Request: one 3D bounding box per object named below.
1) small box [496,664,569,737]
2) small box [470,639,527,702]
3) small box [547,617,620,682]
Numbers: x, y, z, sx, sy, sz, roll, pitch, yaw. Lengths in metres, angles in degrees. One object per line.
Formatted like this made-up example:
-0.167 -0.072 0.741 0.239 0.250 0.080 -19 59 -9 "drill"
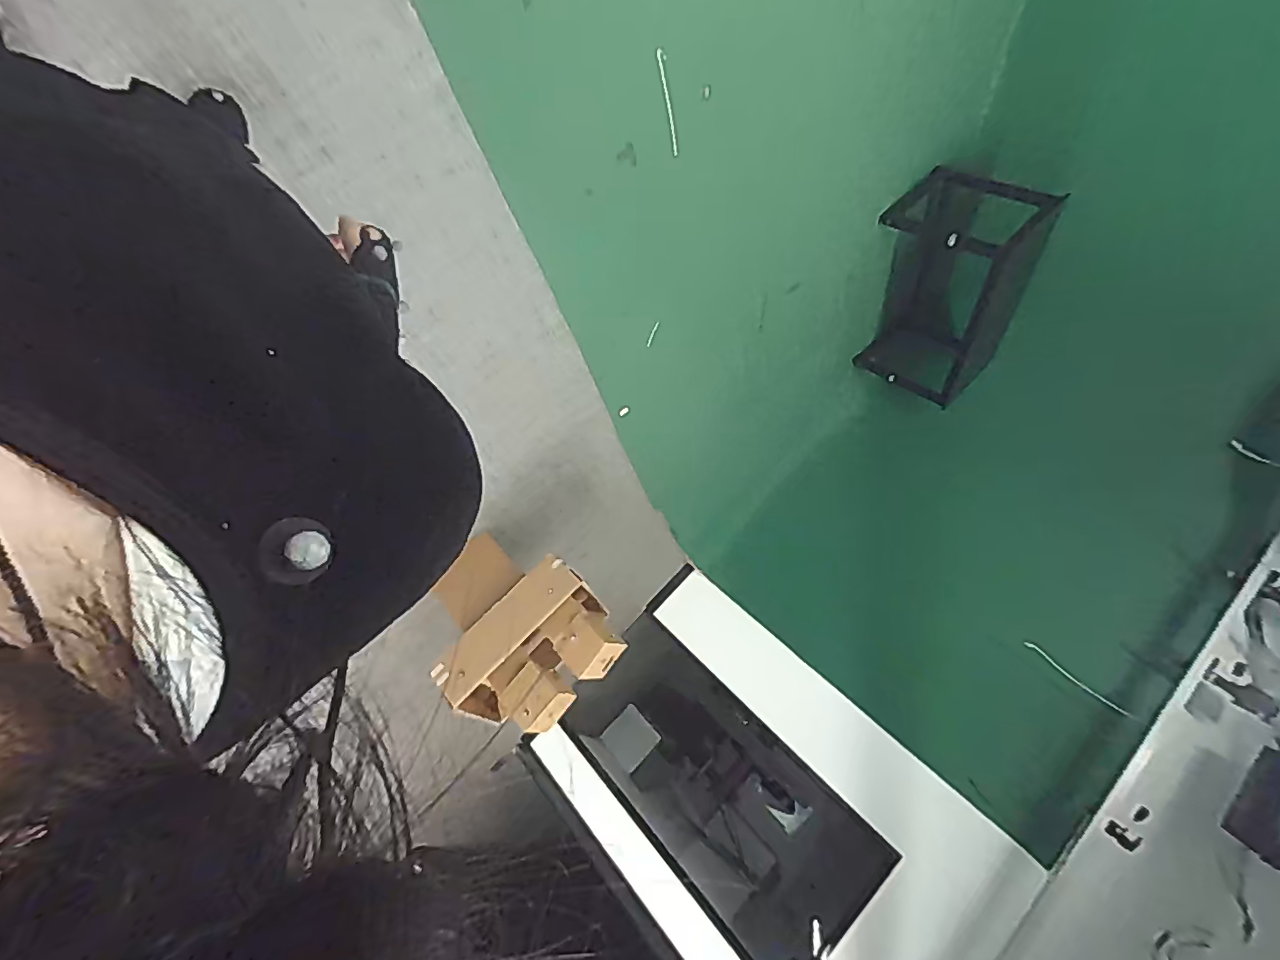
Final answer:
-0.394 0.795 1.951 0.179 0.176 0.168 -49 151 -8 "small box"
-0.518 0.735 2.048 0.168 0.176 0.179 -39 146 -23 "small box"
-0.213 0.636 2.031 0.168 0.176 0.179 -53 149 0 "small box"
